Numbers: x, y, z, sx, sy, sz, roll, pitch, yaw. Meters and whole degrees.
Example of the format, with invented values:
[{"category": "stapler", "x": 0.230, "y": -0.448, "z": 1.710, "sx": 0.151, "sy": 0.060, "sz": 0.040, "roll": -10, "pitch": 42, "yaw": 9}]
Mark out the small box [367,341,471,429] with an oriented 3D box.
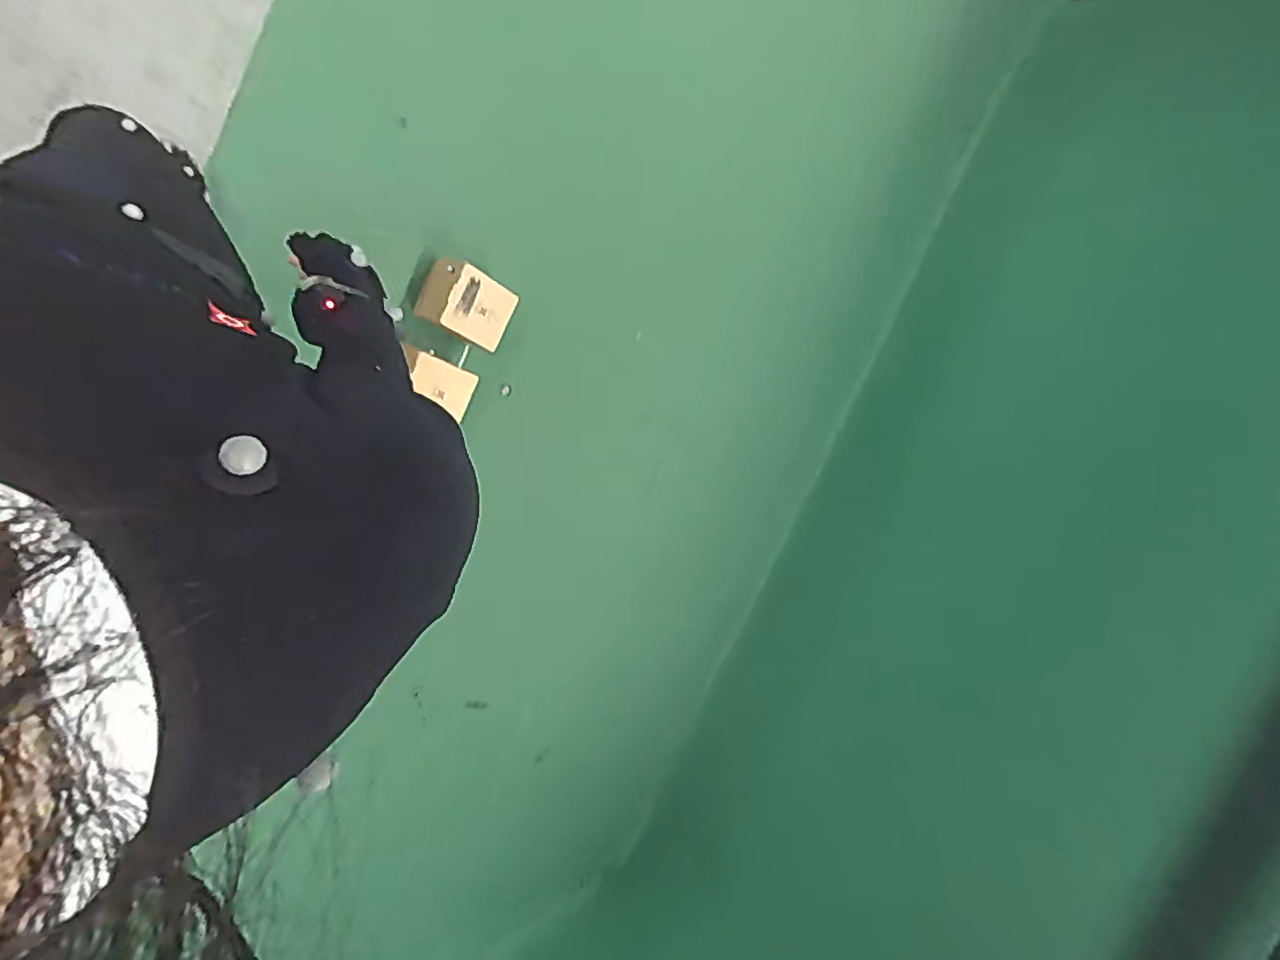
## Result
[{"category": "small box", "x": -0.597, "y": -0.259, "z": 1.456, "sx": 0.179, "sy": 0.176, "sz": 0.168, "roll": 21, "pitch": 96, "yaw": -49}]
